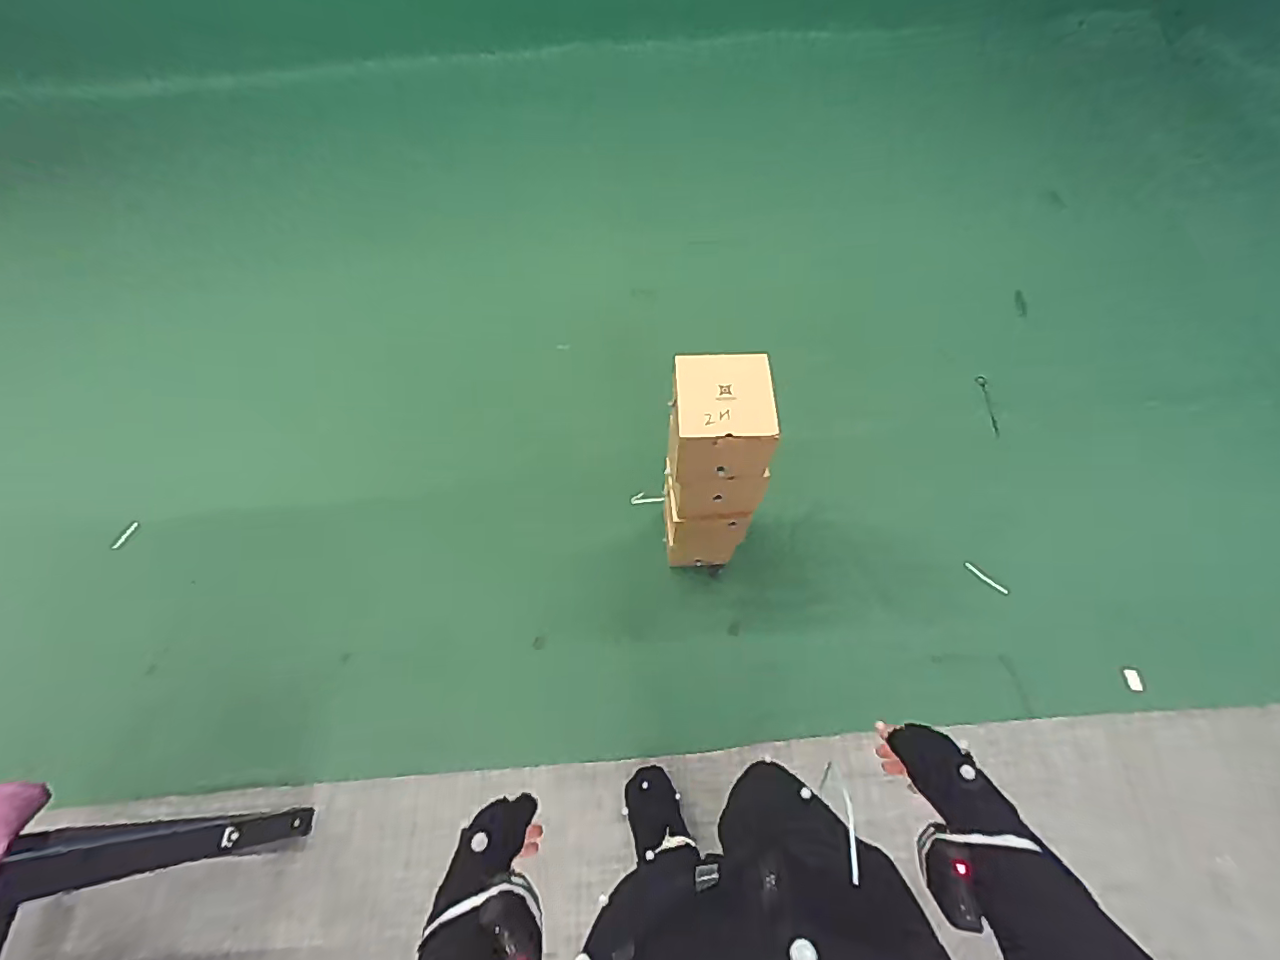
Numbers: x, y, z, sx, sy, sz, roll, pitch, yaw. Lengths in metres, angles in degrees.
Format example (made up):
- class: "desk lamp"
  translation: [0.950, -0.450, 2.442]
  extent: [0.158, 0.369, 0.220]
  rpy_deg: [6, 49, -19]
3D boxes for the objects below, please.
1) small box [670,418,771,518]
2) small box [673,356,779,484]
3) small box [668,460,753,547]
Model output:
- class: "small box"
  translation: [0.161, -0.030, 1.143]
  extent: [0.179, 0.176, 0.168]
  rpy_deg: [-6, 63, -1]
- class: "small box"
  translation: [0.148, -0.106, 0.997]
  extent: [0.168, 0.176, 0.179]
  rpy_deg: [-1, 63, 1]
- class: "small box"
  translation: [0.160, 0.053, 1.285]
  extent: [0.179, 0.176, 0.168]
  rpy_deg: [-4, 63, -1]
